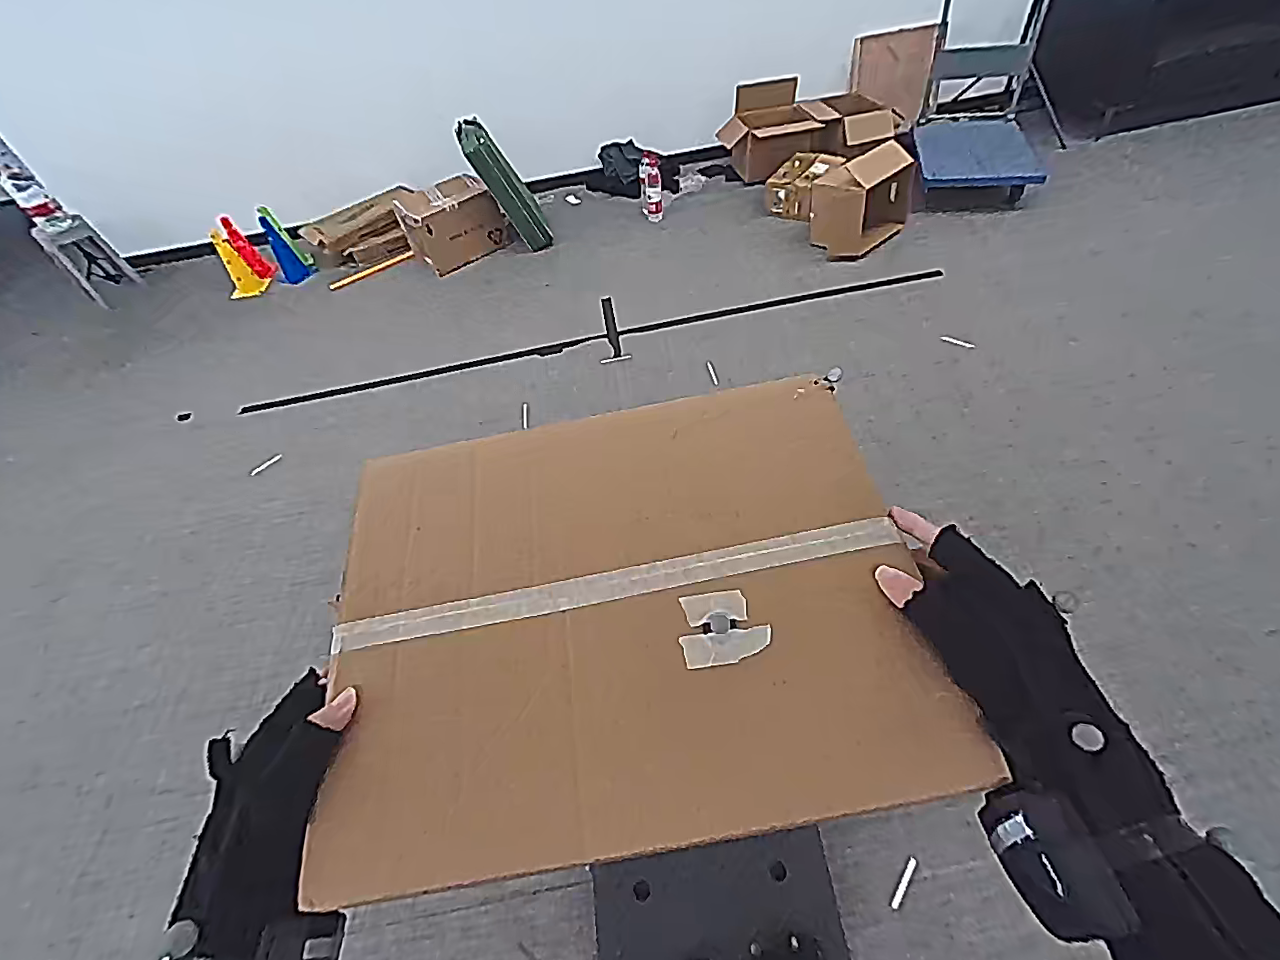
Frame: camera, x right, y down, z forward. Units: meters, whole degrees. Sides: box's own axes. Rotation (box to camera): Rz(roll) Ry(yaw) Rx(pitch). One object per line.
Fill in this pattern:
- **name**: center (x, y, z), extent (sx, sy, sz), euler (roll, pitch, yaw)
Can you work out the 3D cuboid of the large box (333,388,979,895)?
- **large box**: center (0.001, 0.161, 0.525), extent (0.408, 0.320, 0.320), euler (-11, 58, 0)
